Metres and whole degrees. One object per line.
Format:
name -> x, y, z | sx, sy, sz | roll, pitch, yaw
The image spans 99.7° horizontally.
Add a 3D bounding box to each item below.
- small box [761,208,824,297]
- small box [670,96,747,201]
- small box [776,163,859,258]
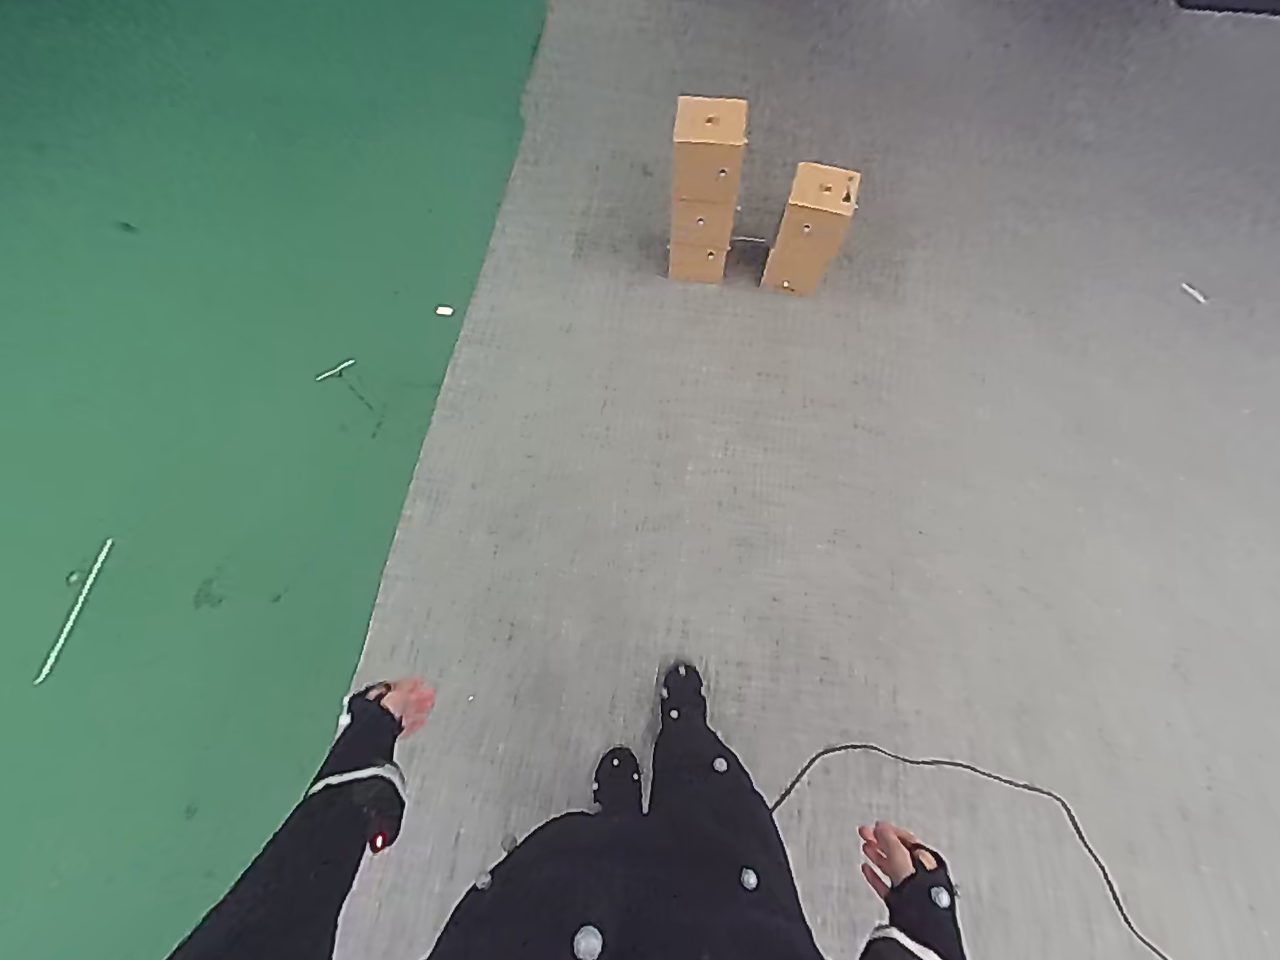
small box -> 0.489, -0.713, 1.703 | 0.168, 0.176, 0.179 | 16, 71, 8
small box -> 0.176, -0.859, 1.413 | 0.179, 0.176, 0.168 | 6, 69, 4
small box -> 0.500, -0.764, 1.546 | 0.179, 0.176, 0.168 | 16, 71, 8
